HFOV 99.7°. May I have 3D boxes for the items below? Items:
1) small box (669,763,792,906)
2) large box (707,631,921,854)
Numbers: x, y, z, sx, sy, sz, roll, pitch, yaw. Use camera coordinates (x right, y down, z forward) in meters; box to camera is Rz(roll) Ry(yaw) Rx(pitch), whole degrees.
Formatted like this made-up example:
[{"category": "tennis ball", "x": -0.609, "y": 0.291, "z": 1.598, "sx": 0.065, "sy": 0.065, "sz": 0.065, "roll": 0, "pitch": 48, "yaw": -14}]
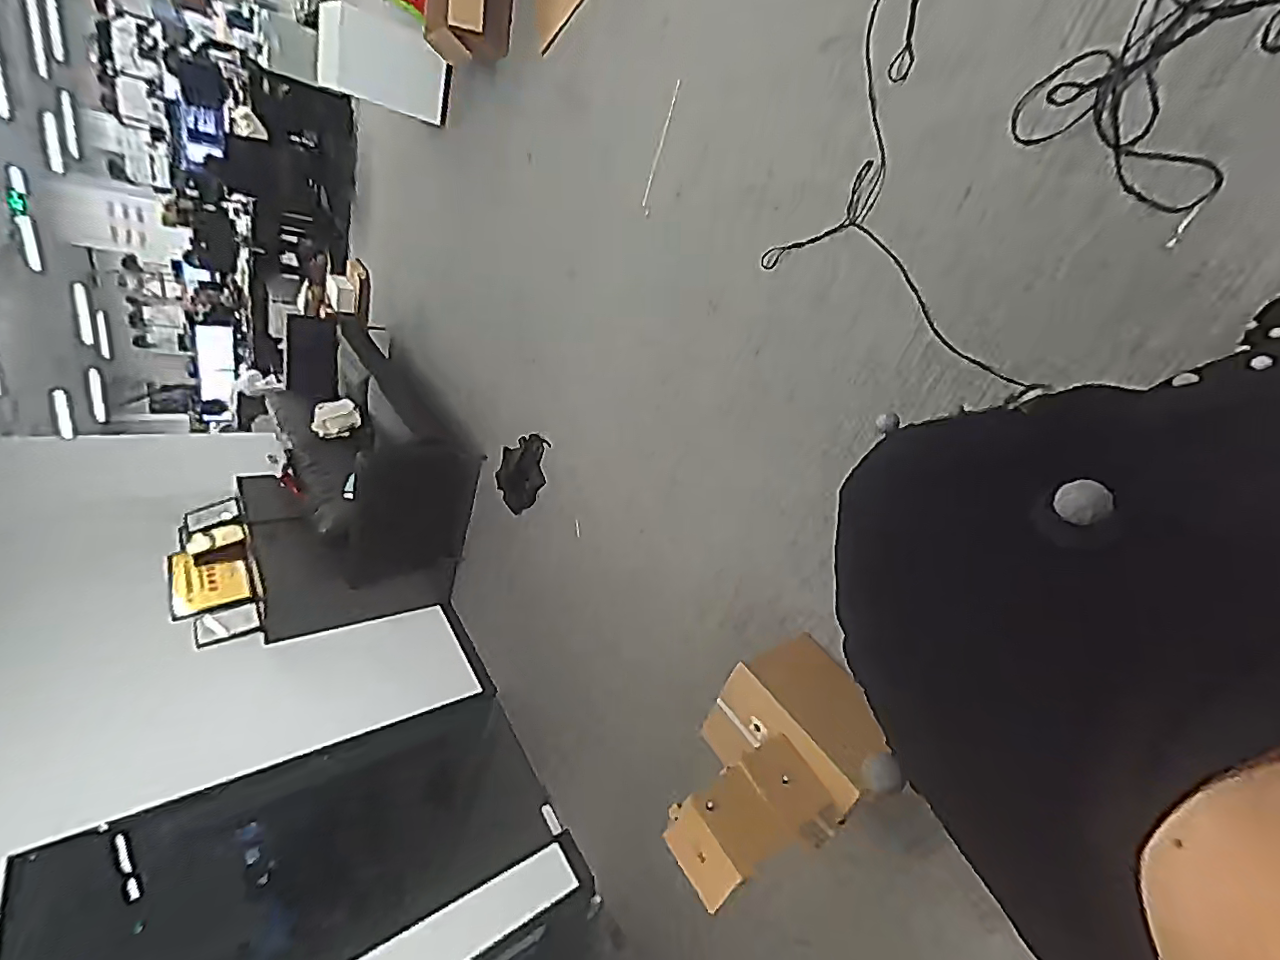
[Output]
[{"category": "small box", "x": 0.200, "y": 0.769, "z": 1.189, "sx": 0.179, "sy": 0.176, "sz": 0.168, "roll": 45, "pitch": 127, "yaw": 37}, {"category": "large box", "x": 0.468, "y": 0.697, "z": 1.497, "sx": 0.408, "sy": 0.320, "sz": 0.320, "roll": 45, "pitch": 125, "yaw": 39}]
